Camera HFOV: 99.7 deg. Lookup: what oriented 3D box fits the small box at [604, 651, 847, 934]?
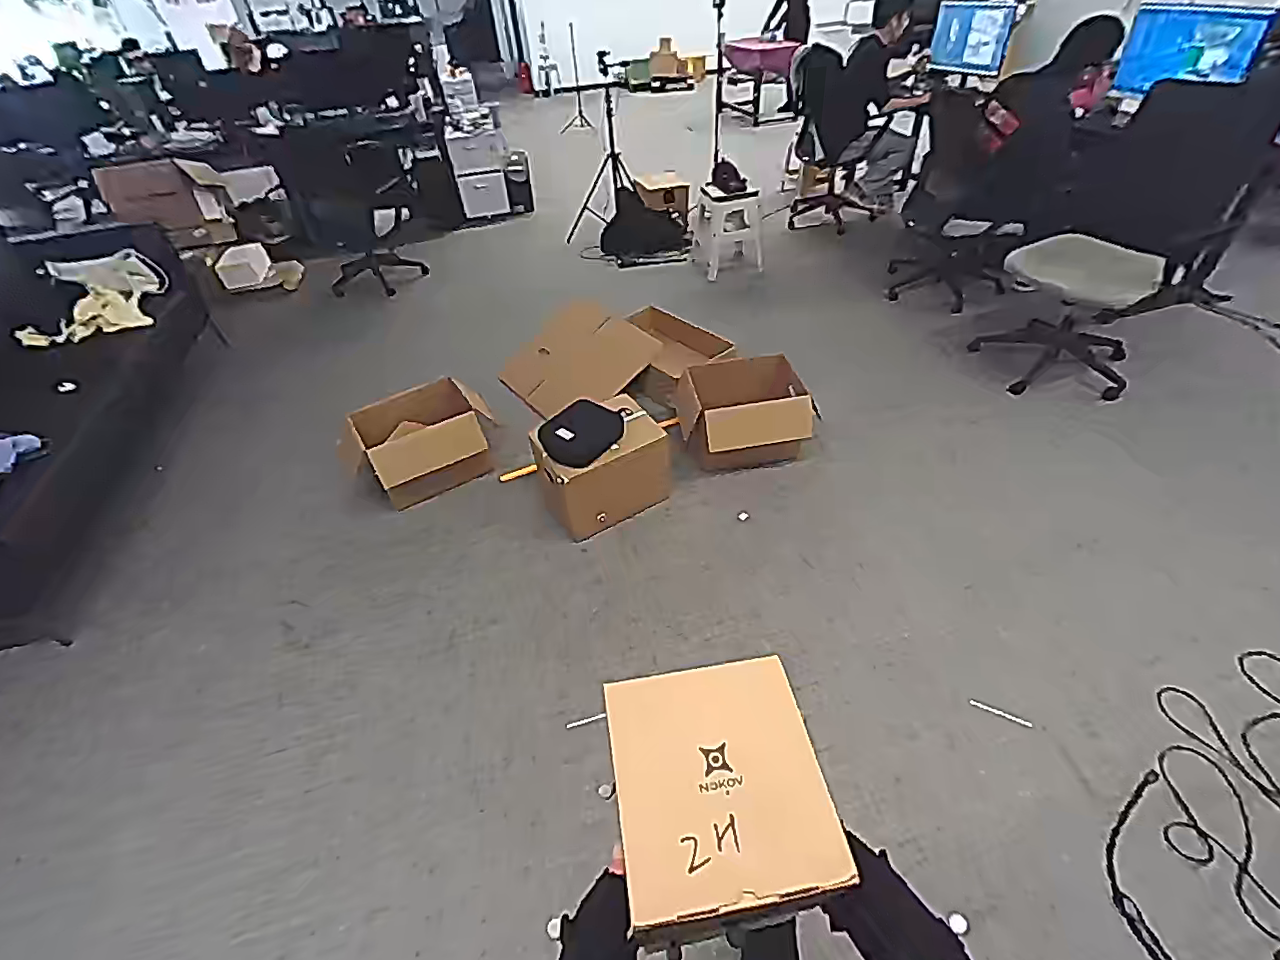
[{"bbox_3d":[0.059,0.285,0.497,0.168,0.176,0.179,-7,46,-5],"label":"small box"}]
